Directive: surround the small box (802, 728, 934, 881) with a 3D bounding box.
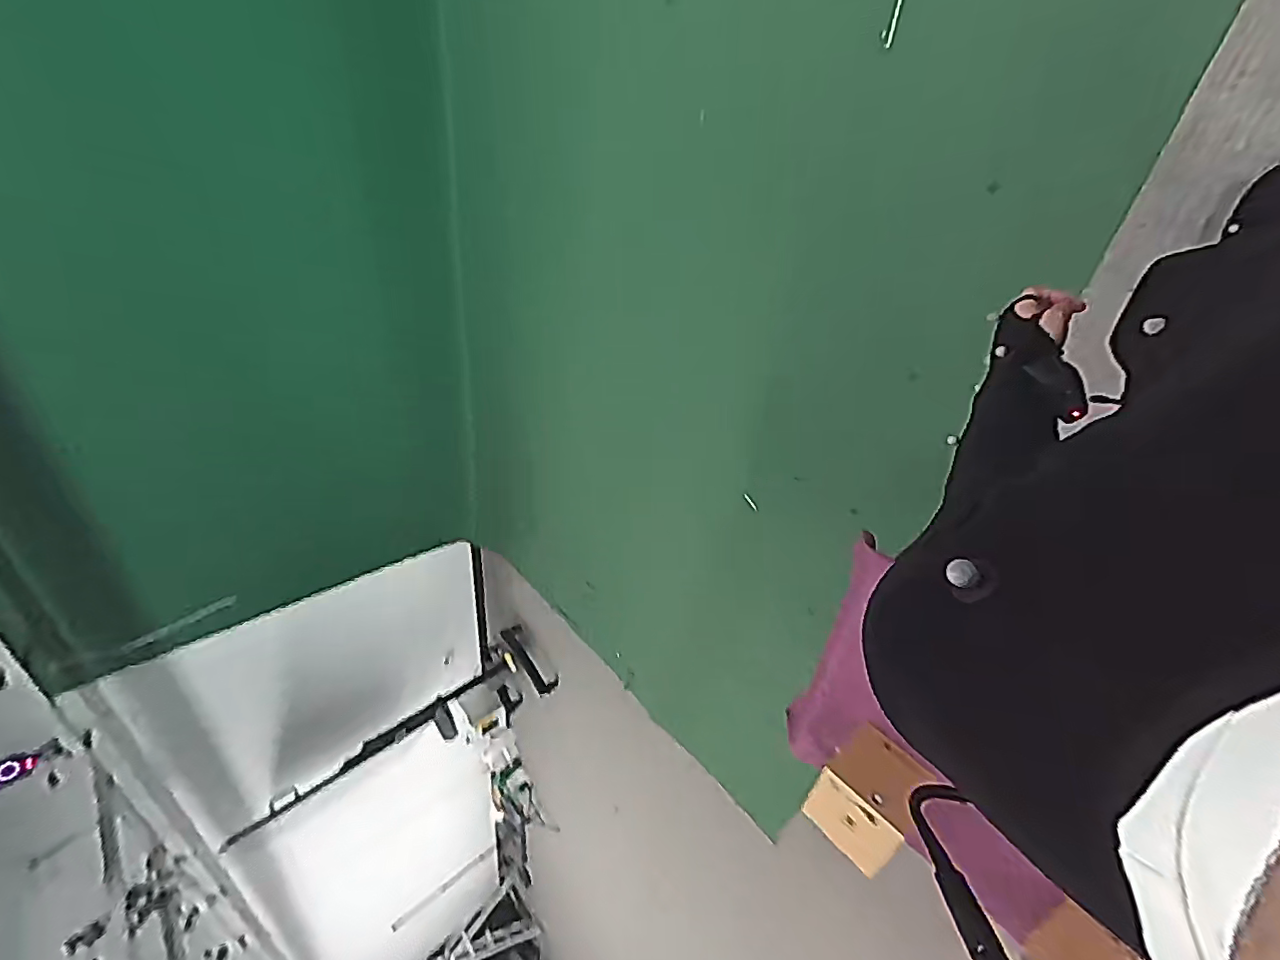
[{"bbox_3d":[0.466,0.655,1.105,0.168,0.176,0.179,35,131,34],"label":"small box"}]

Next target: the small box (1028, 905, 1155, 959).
[{"bbox_3d":[0.743,0.854,0.875,0.168,0.176,0.179,32,128,36],"label":"small box"}]
